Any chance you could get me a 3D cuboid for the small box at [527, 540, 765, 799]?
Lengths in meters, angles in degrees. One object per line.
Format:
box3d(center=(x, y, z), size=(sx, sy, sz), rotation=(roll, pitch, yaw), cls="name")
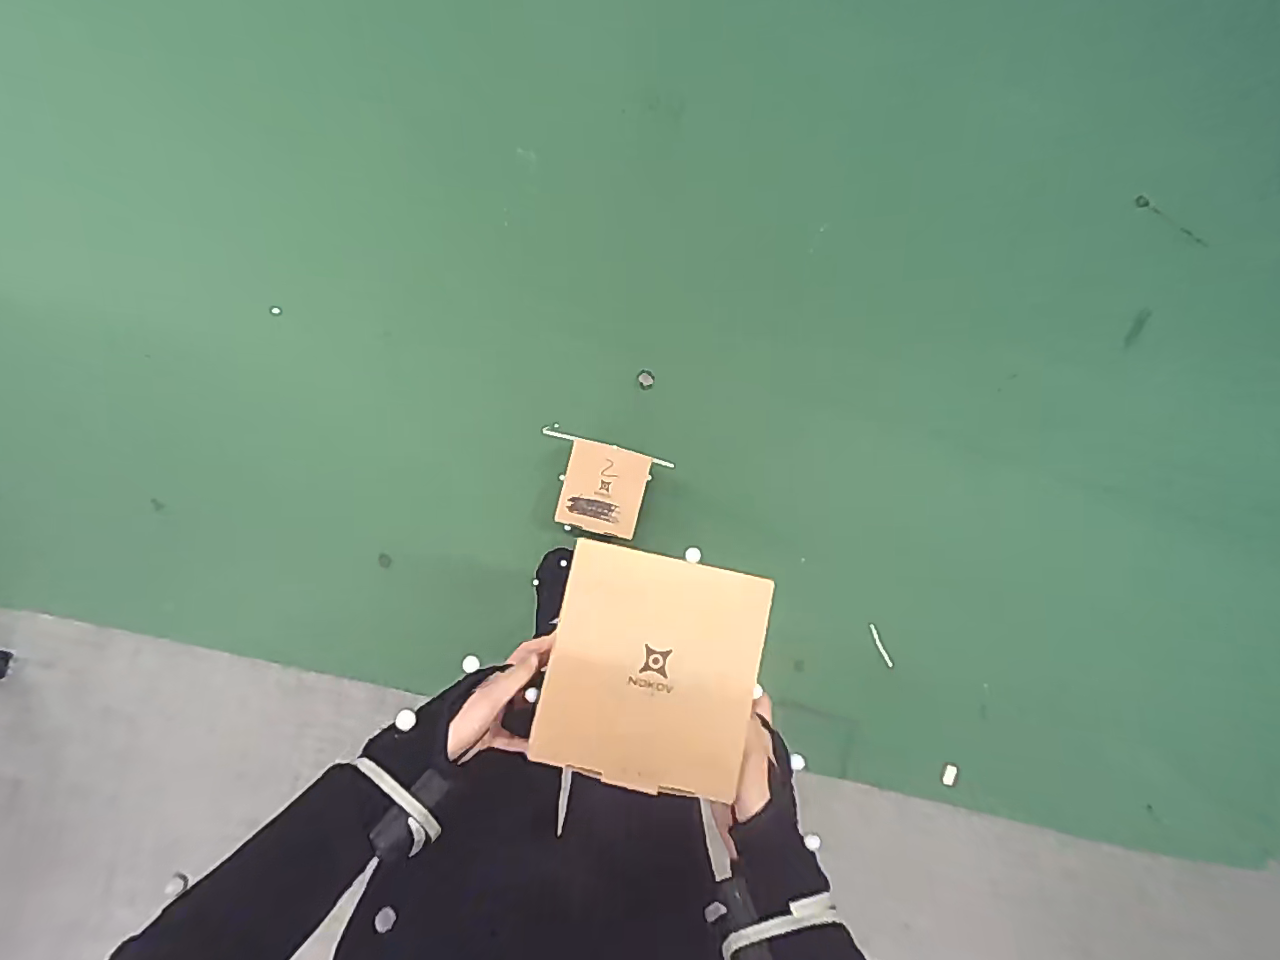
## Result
box3d(center=(0.003, 0.161, 0.512), size=(0.168, 0.176, 0.179), rotation=(12, 82, -1), cls="small box")
